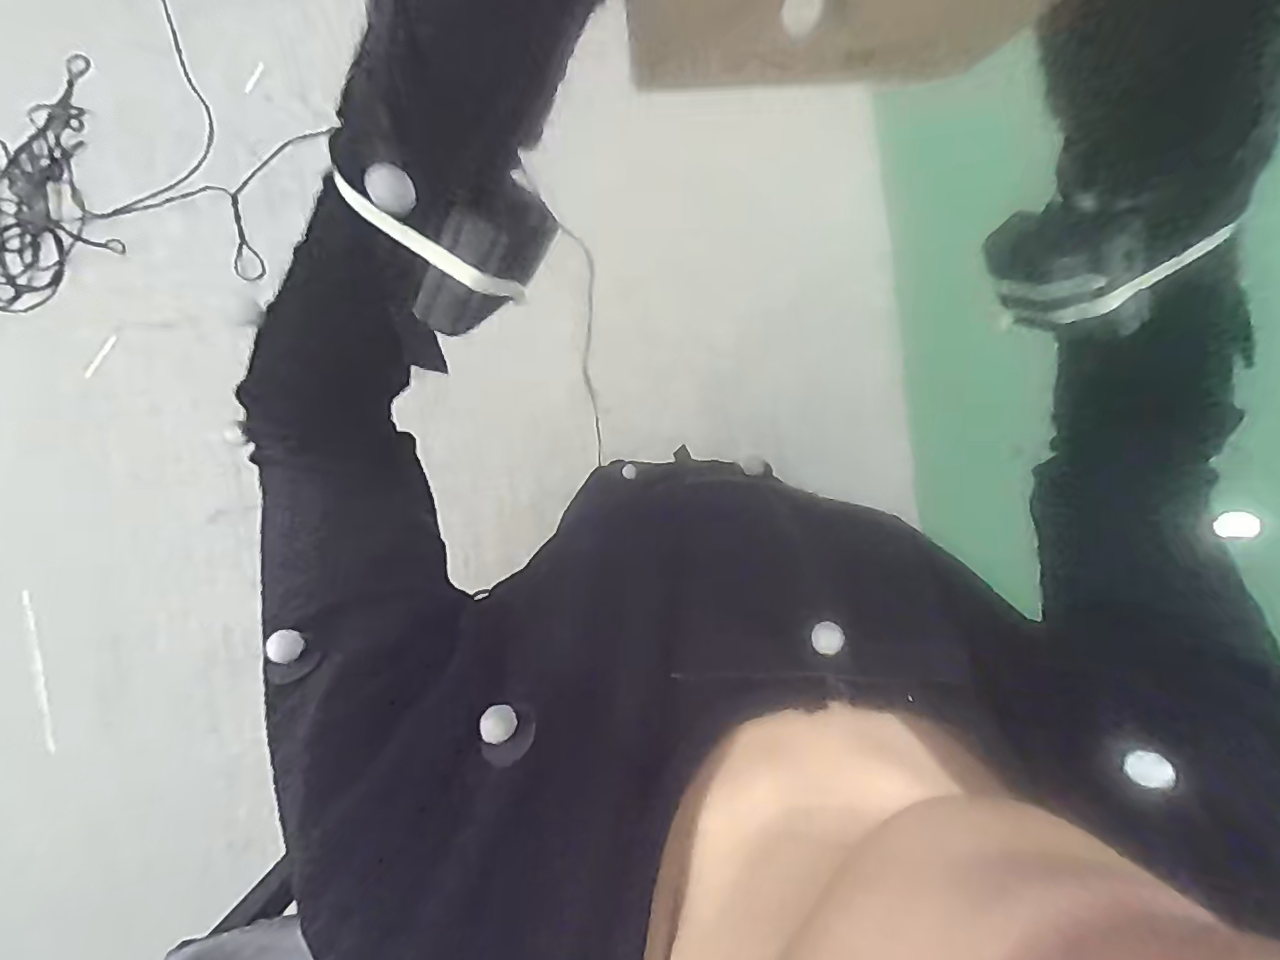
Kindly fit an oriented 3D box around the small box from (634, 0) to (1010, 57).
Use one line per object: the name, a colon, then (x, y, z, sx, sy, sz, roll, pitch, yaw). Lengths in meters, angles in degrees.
small box: (0.075, -0.267, 0.170, 0.168, 0.176, 0.179, -2, 105, 1)
